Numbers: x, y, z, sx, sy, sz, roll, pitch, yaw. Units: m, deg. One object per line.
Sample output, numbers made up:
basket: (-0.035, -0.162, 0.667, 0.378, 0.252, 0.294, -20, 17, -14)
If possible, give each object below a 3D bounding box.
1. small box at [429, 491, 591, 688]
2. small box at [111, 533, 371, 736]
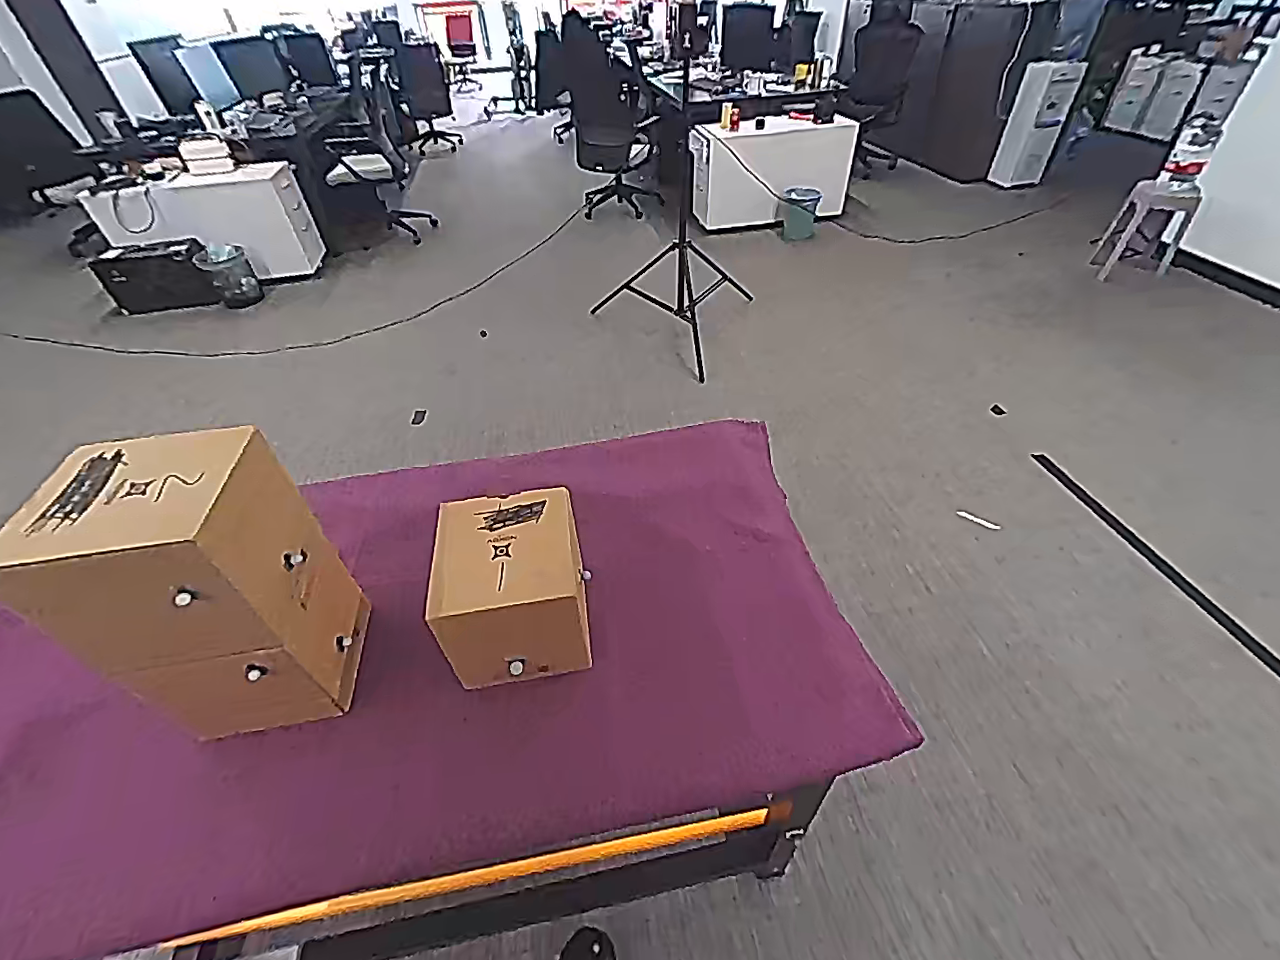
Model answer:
small box: (-0.158, 0.141, 0.705, 0.168, 0.176, 0.179, -8, 43, -5)
small box: (-0.465, 0.193, 0.669, 0.179, 0.176, 0.168, -8, 43, -7)
